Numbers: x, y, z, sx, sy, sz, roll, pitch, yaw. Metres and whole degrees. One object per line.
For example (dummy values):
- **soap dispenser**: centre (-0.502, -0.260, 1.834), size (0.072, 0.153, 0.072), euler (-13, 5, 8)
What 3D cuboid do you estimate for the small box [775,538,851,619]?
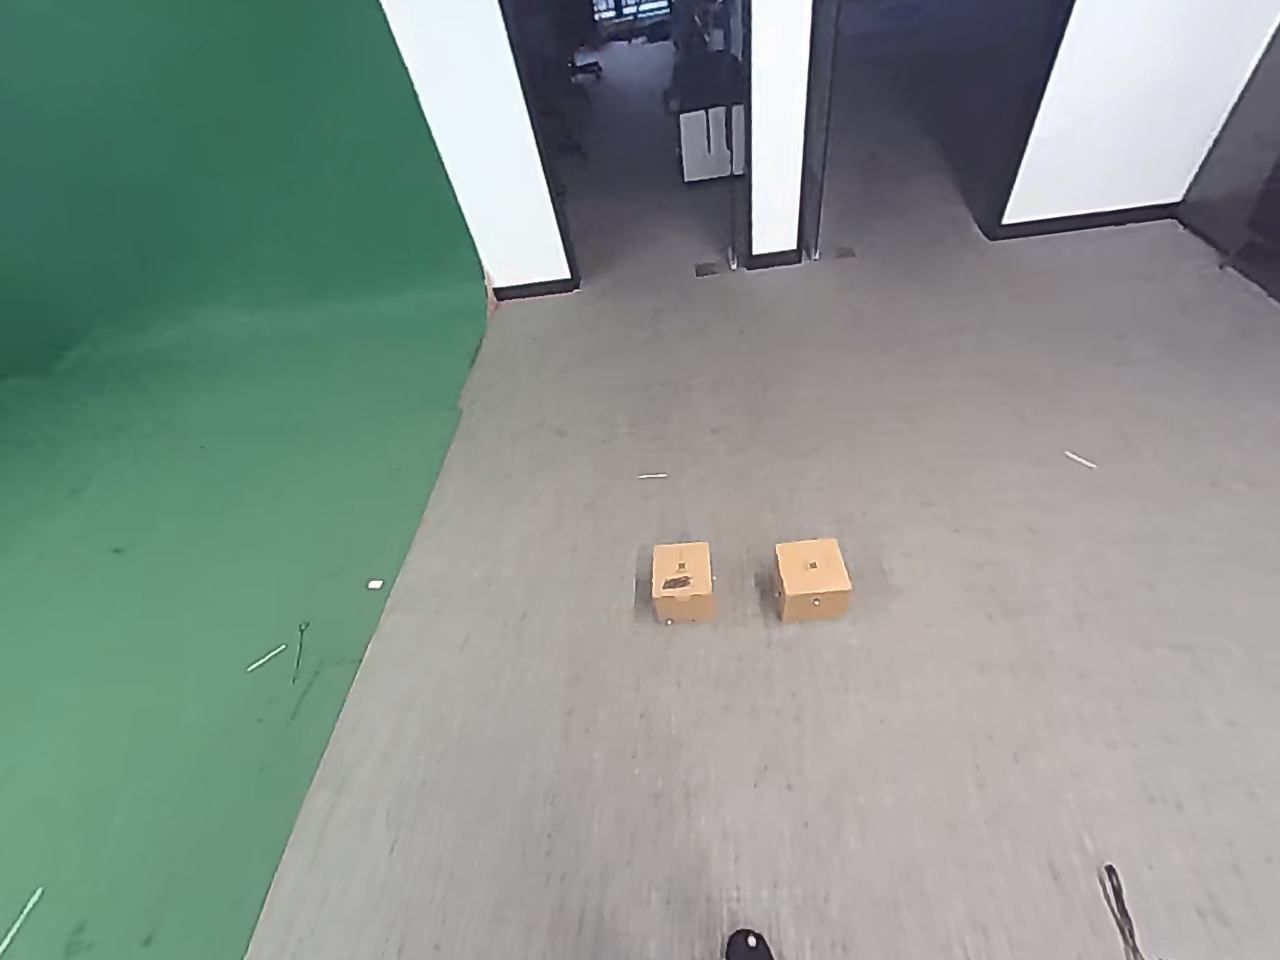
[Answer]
- **small box**: centre (0.482, 0.284, 1.537), size (0.179, 0.176, 0.168), euler (-6, 49, 6)

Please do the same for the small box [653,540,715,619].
- **small box**: centre (0.133, 0.299, 1.596), size (0.168, 0.176, 0.179), euler (-4, 48, 8)
